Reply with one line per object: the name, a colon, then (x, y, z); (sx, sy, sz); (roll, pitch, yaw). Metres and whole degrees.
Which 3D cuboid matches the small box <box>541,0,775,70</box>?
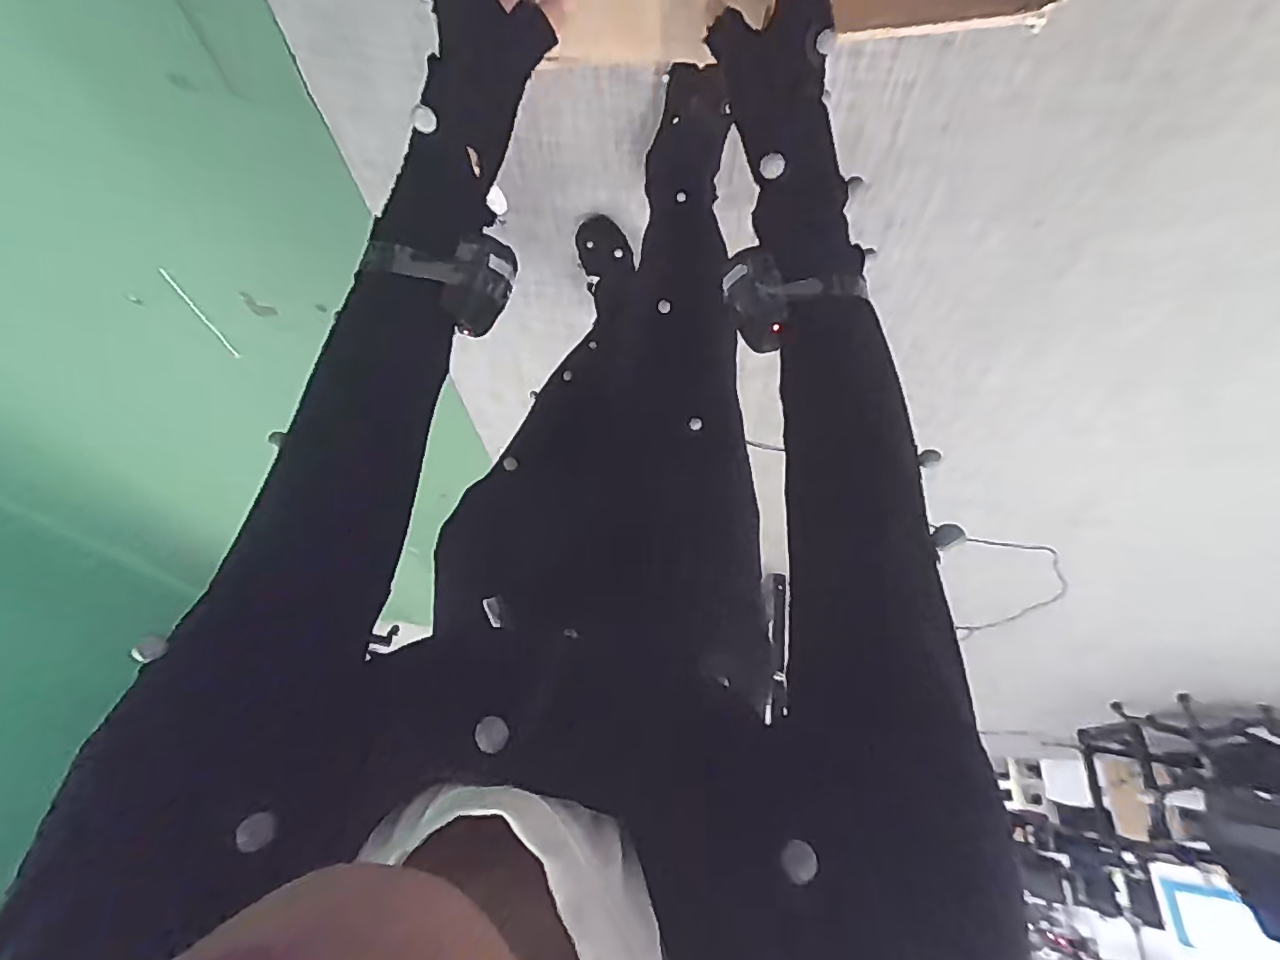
small box: (0.017, -0.442, 0.395); (0.179, 0.176, 0.168); (2, 157, 1)
